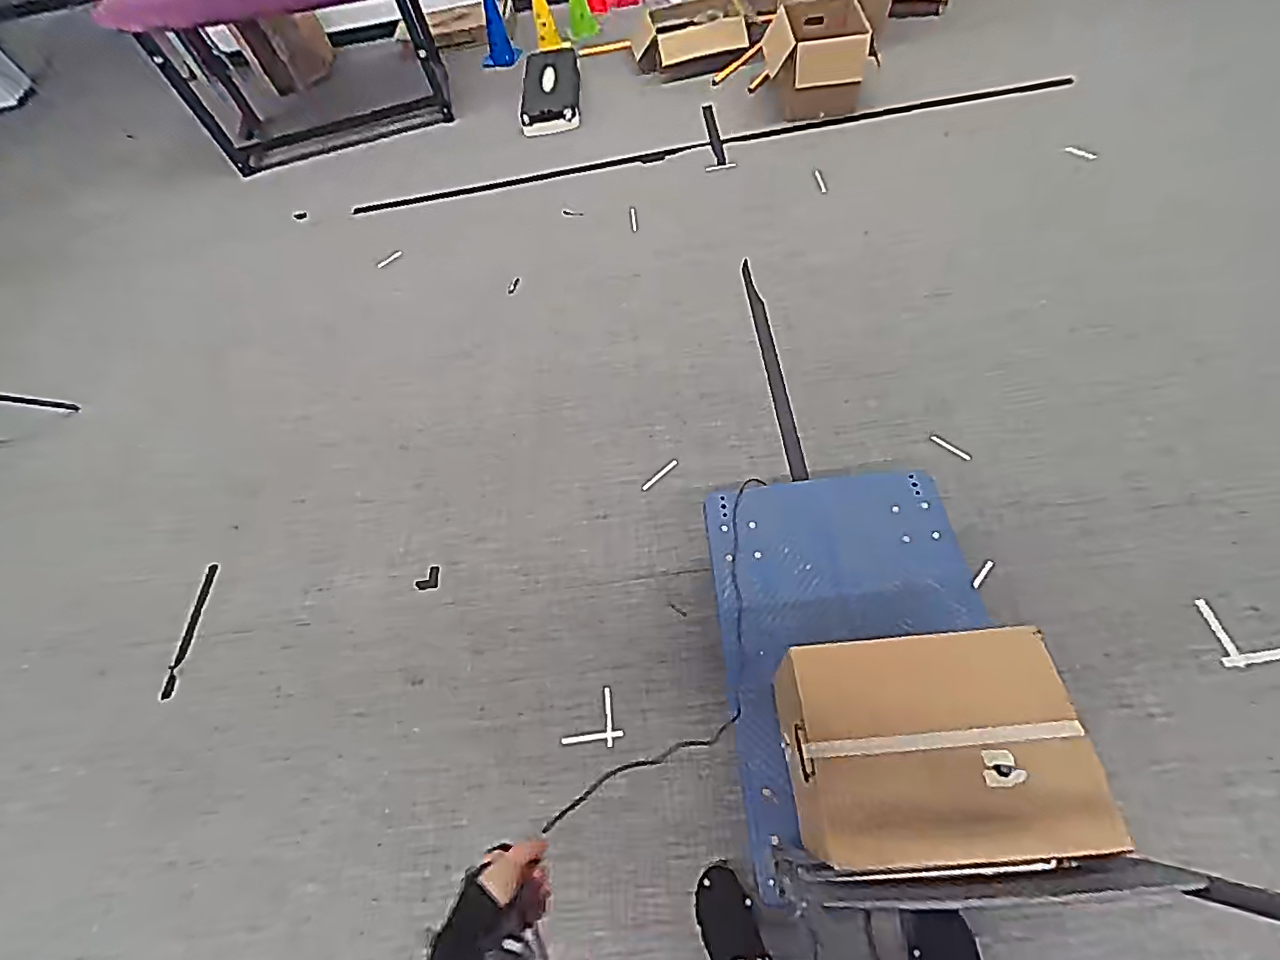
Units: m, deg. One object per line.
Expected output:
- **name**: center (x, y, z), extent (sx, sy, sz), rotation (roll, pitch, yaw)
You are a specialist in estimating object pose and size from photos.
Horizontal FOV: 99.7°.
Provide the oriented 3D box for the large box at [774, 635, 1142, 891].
- **large box**: center (0.474, 0.480, 0.928), extent (0.408, 0.320, 0.320), rotation (-6, 59, 3)
